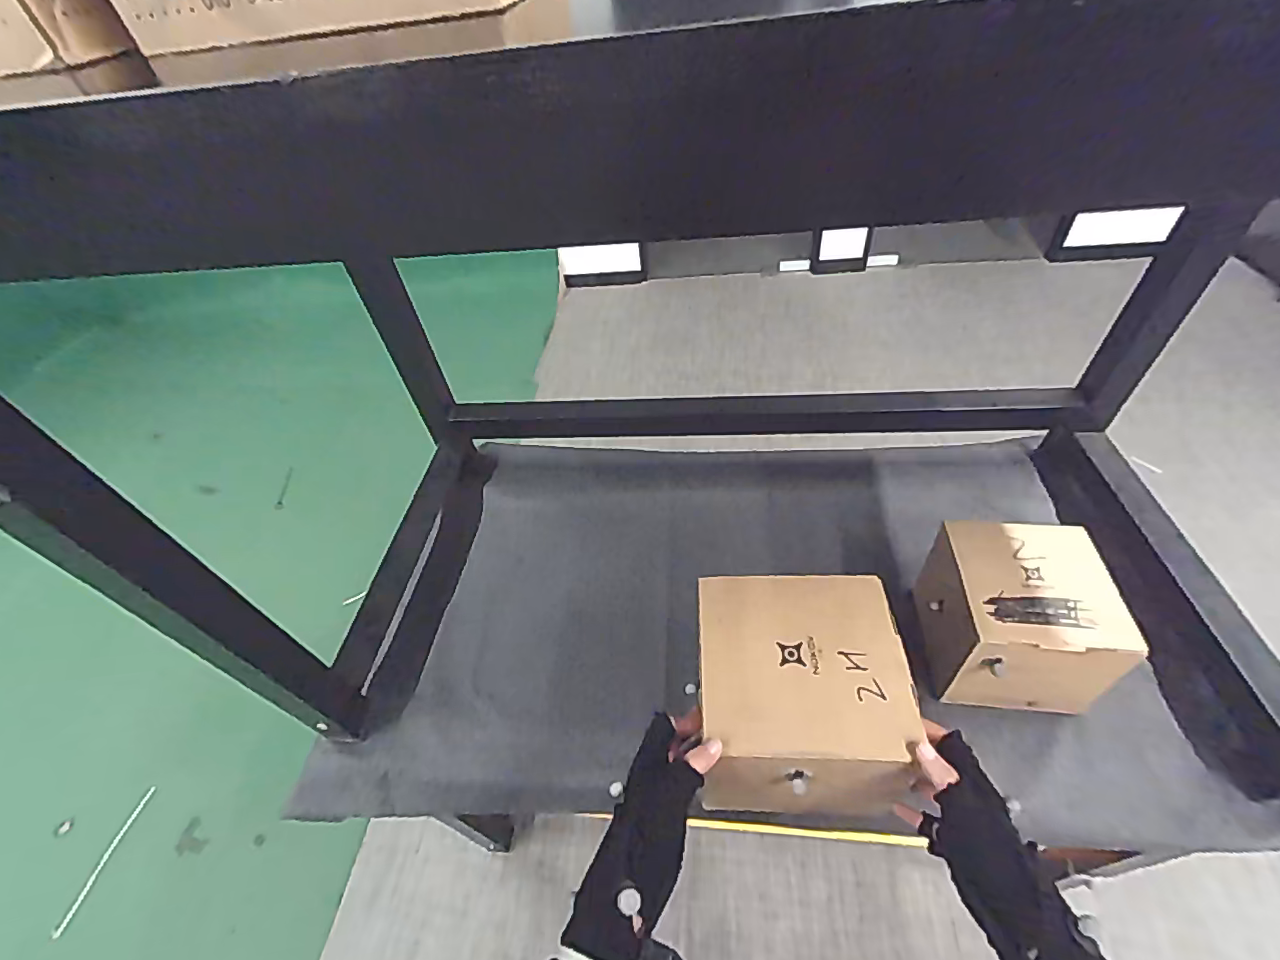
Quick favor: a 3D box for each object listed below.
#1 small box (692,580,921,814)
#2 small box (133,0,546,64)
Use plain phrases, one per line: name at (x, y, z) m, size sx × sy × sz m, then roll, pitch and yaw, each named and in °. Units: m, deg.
small box at (0.142, 0.213, 0.531) m, size 0.179 × 0.176 × 0.168 m, roll -1°, pitch 47°, yaw 6°
small box at (-0.143, -0.300, 0.235) m, size 0.168 × 0.176 × 0.179 m, roll -1°, pitch 46°, yaw 7°
